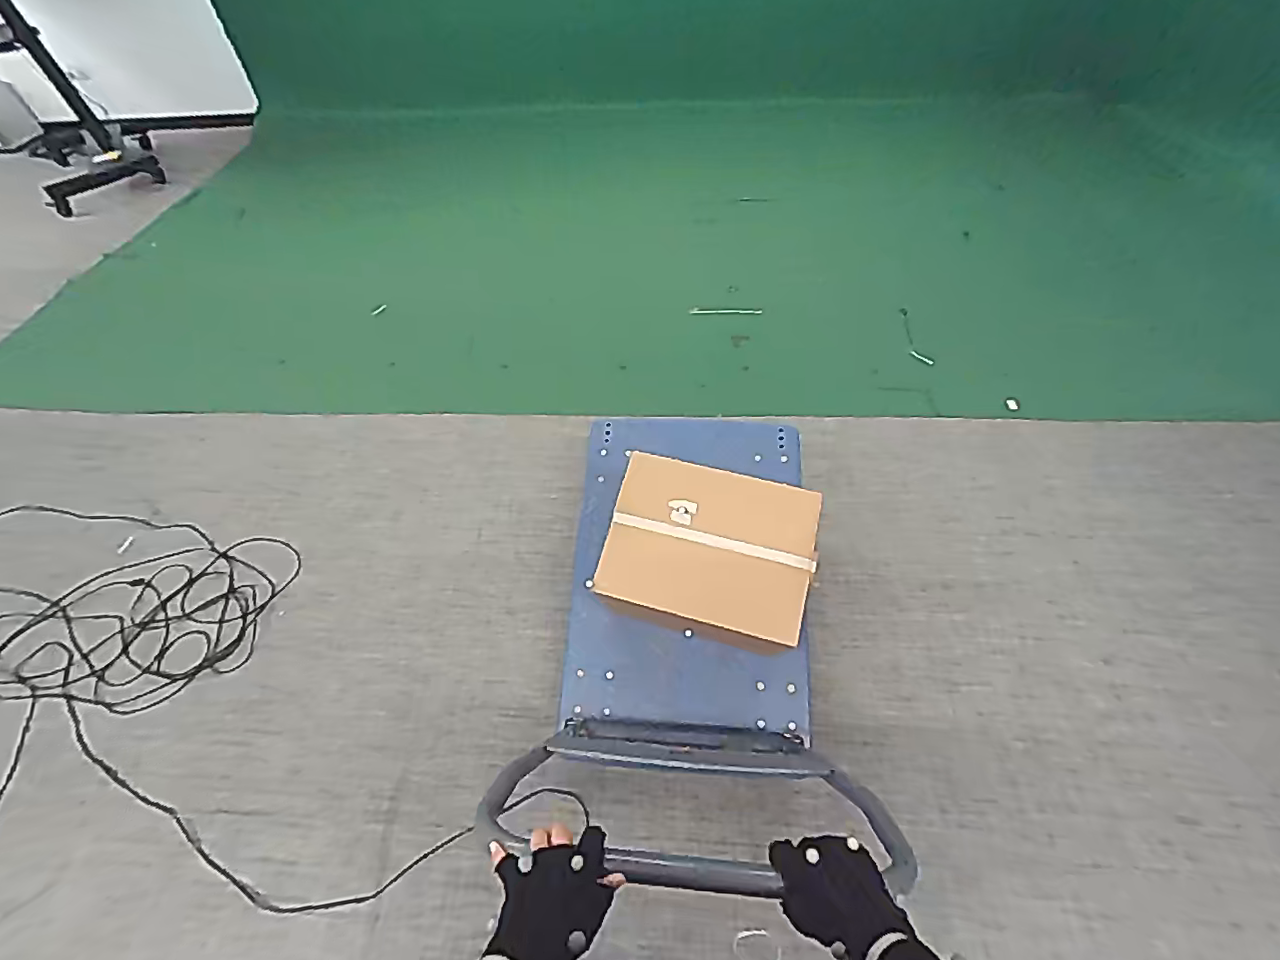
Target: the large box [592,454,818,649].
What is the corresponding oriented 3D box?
[{"bbox_3d":[0.148,0.174,1.216,0.408,0.320,0.320,13,71,10],"label":"large box"}]
